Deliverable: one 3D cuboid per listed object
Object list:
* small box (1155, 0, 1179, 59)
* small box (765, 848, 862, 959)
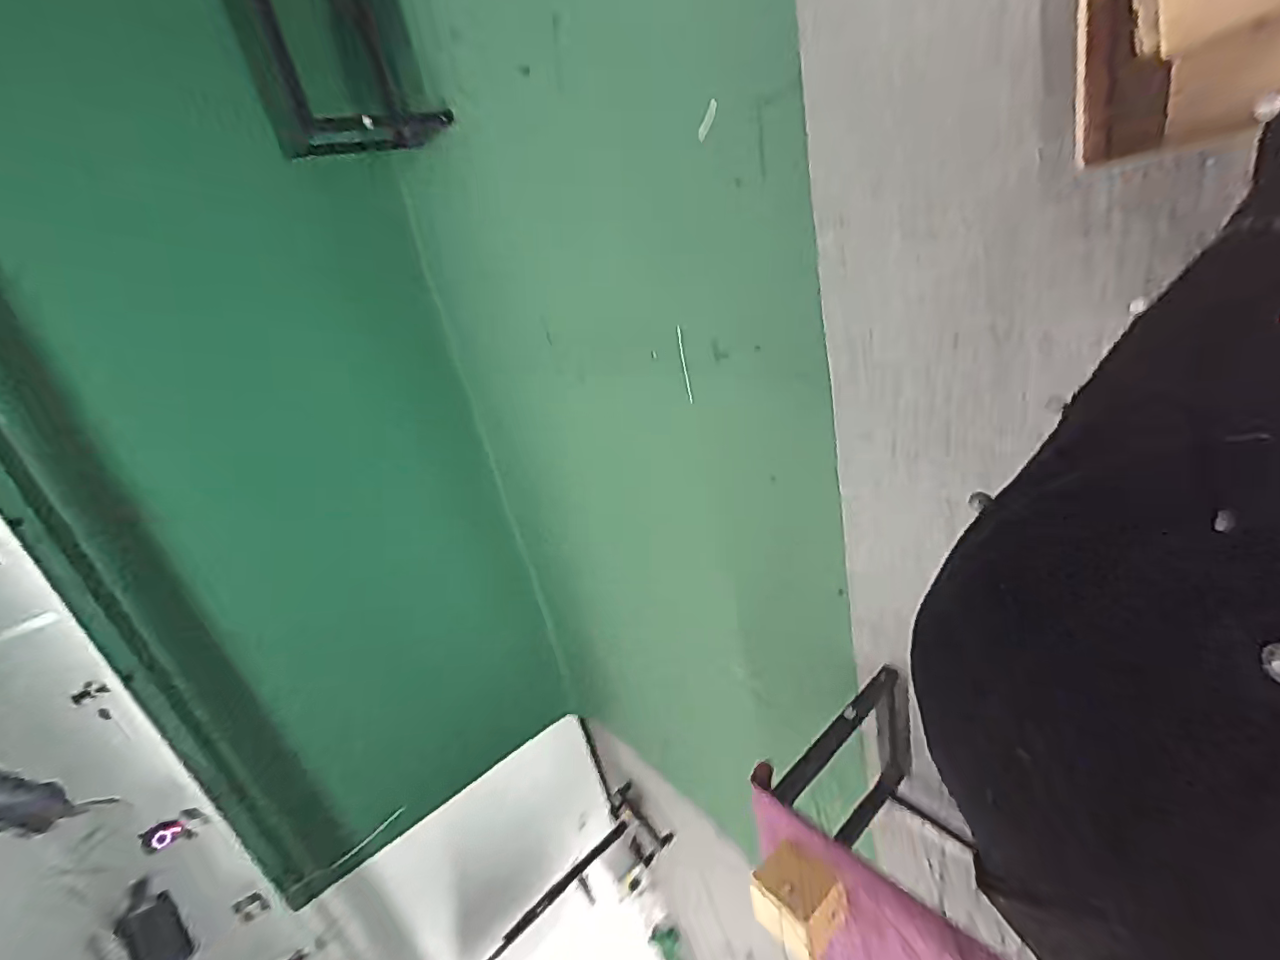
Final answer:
[{"bbox_3d":[0.864,-0.727,0.760,0.179,0.176,0.168,7,119,53],"label":"small box"},{"bbox_3d":[0.457,1.117,1.420,0.179,0.176,0.168,13,122,51],"label":"small box"}]
